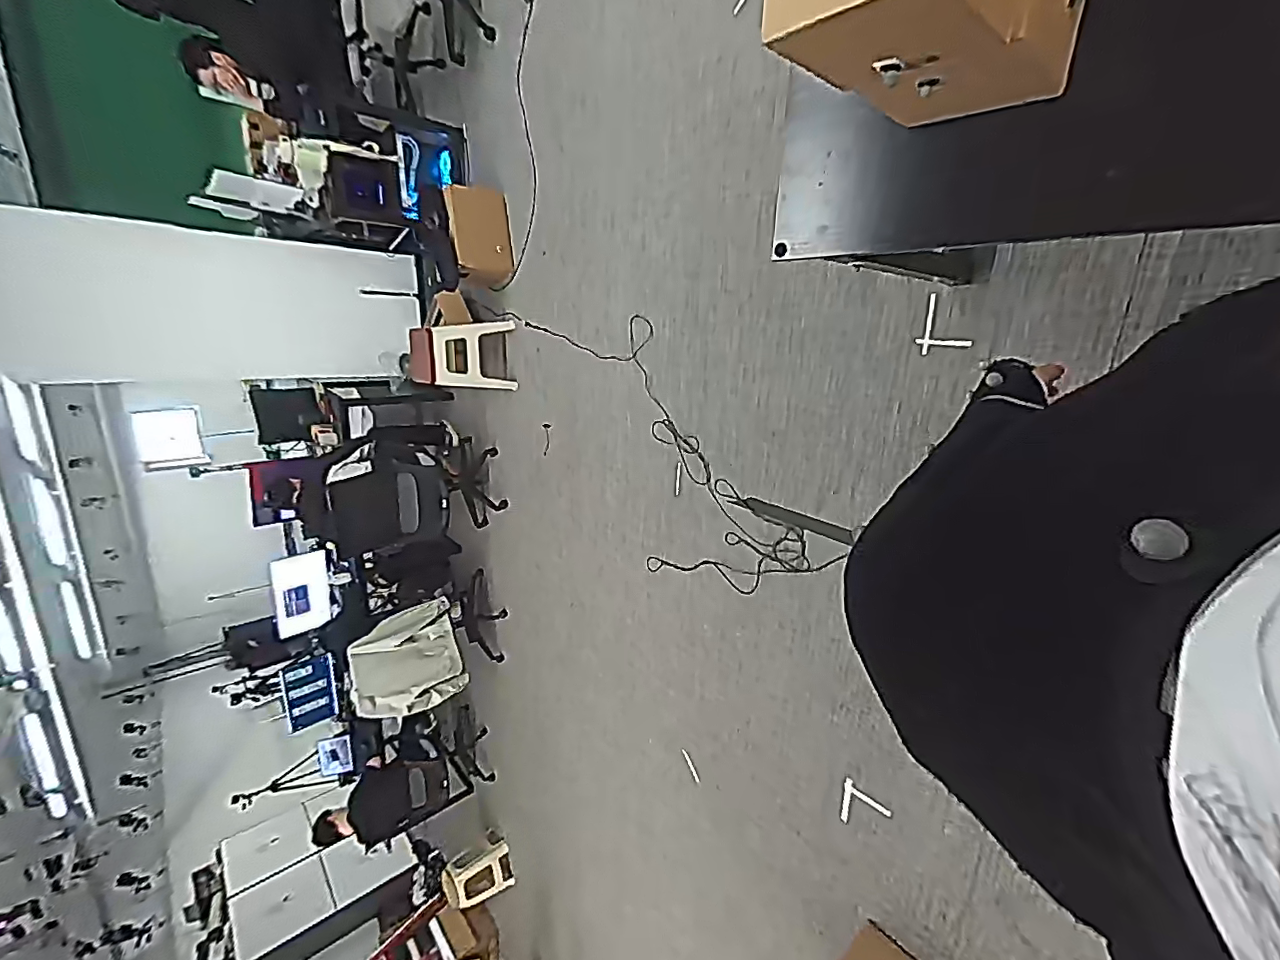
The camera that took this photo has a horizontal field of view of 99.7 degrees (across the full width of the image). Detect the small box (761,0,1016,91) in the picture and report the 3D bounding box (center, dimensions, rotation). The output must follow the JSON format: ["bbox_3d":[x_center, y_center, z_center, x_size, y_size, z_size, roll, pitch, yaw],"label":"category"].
[{"bbox_3d":[0.234,-0.494,0.488,0.168,0.176,0.179,20,115,47],"label":"small box"}]

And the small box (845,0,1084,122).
[{"bbox_3d":[0.358,-0.519,0.590,0.179,0.176,0.168,21,114,45],"label":"small box"}]
